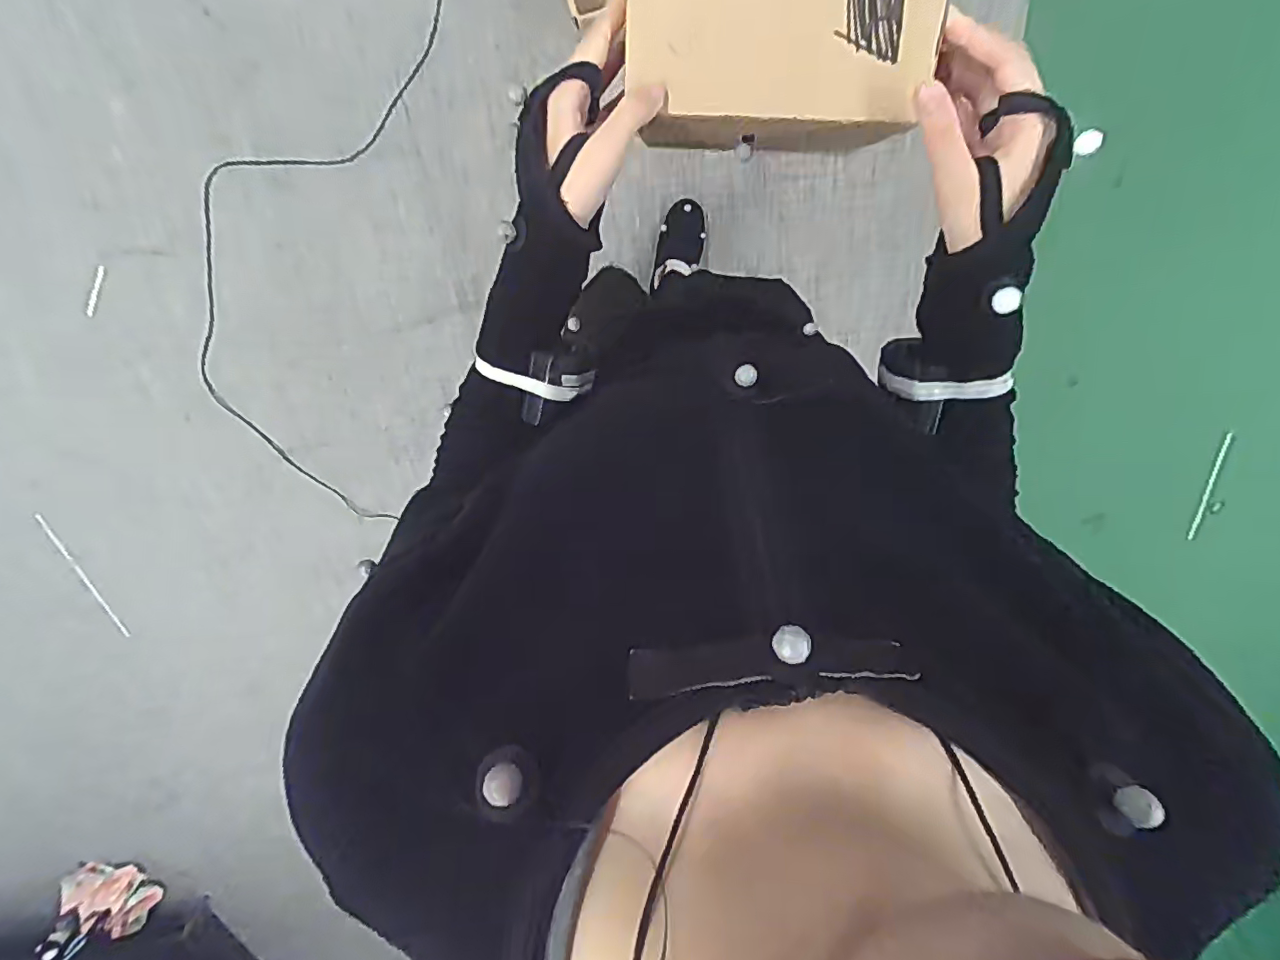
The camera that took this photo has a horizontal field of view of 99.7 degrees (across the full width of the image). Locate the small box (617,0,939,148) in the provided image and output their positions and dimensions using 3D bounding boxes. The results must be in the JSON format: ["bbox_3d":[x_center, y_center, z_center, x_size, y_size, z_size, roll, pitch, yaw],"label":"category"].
[{"bbox_3d":[0.083,-0.323,0.354,0.179,0.176,0.168,4,117,5],"label":"small box"}]
